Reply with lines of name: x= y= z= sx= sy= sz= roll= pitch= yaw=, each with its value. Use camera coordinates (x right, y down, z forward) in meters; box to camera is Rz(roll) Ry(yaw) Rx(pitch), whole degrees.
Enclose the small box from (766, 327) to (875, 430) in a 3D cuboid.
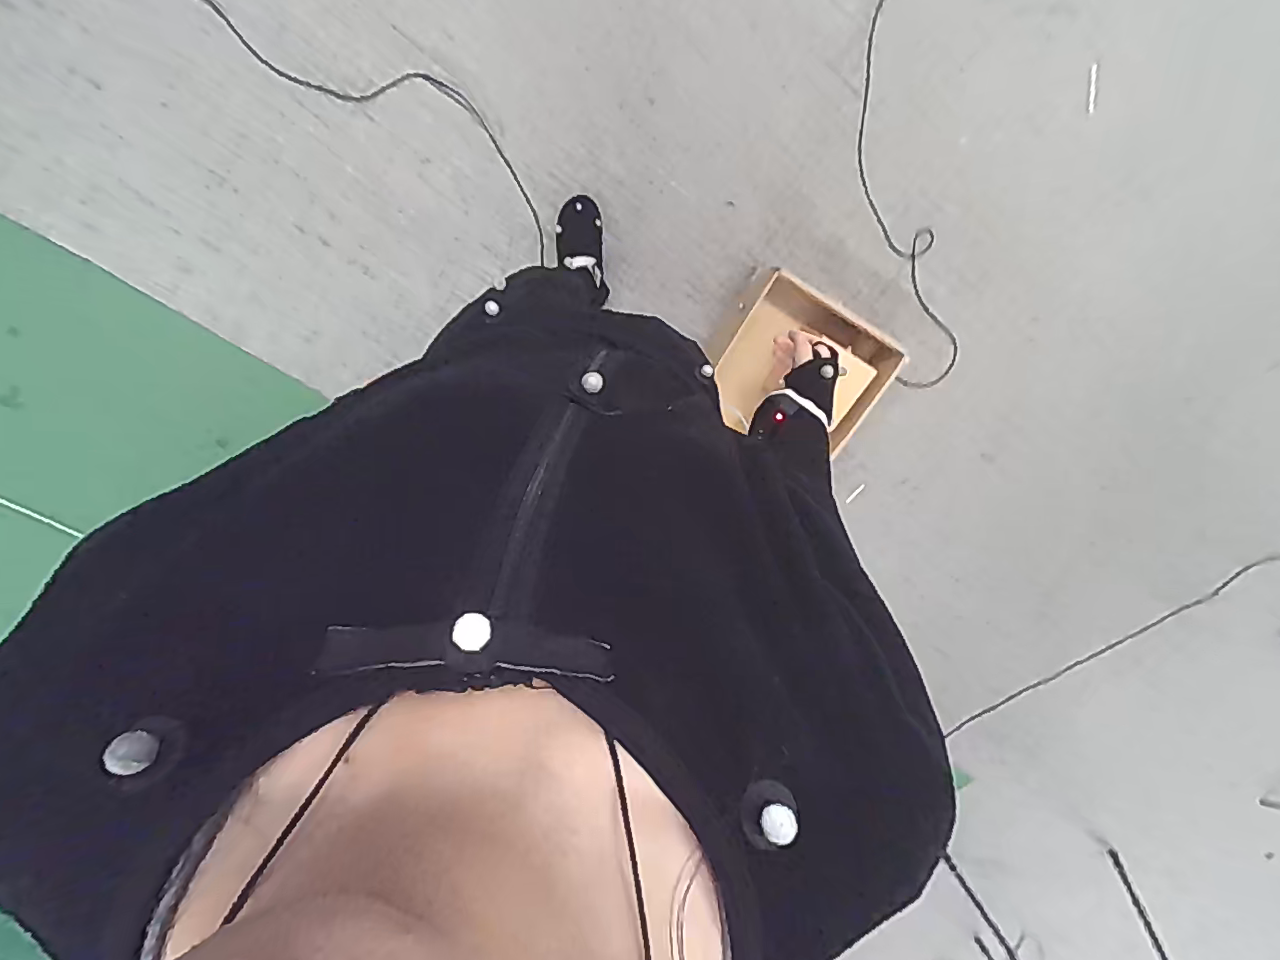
small box: x=0.439 y=-0.261 z=1.351 sx=0.168 sy=0.176 sz=0.179 roll=28 pitch=112 yaw=-13
